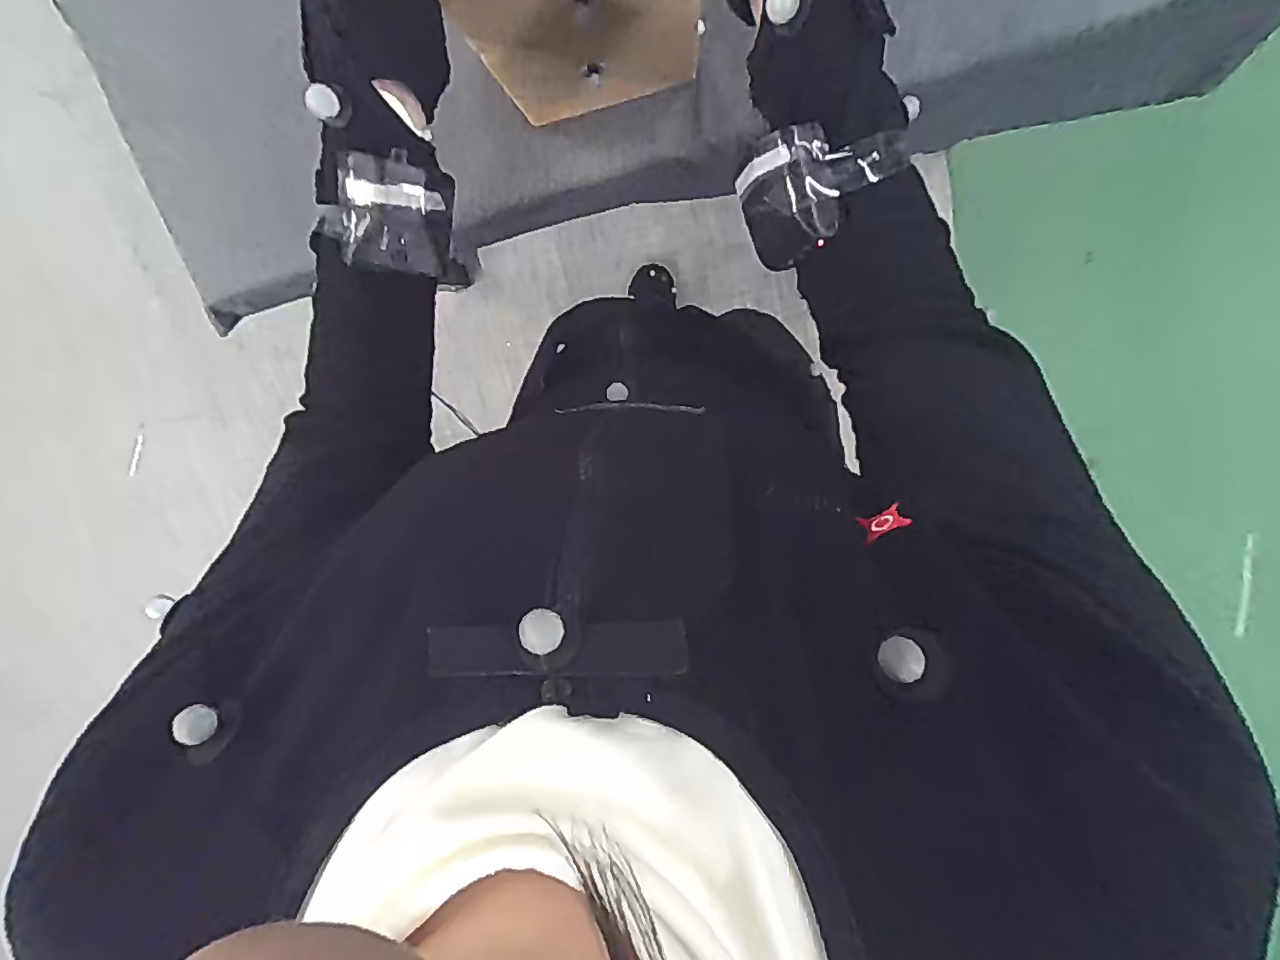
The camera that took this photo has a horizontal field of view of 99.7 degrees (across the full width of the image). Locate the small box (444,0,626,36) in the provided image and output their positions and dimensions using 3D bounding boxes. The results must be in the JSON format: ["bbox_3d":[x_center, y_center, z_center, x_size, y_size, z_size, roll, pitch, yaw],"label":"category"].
[{"bbox_3d":[-0.064,-0.400,0.304,0.179,0.176,0.168,-10,106,7],"label":"small box"}]

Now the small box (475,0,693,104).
[{"bbox_3d":[-0.052,-0.454,0.457,0.179,0.176,0.168,-8,106,7],"label":"small box"}]
